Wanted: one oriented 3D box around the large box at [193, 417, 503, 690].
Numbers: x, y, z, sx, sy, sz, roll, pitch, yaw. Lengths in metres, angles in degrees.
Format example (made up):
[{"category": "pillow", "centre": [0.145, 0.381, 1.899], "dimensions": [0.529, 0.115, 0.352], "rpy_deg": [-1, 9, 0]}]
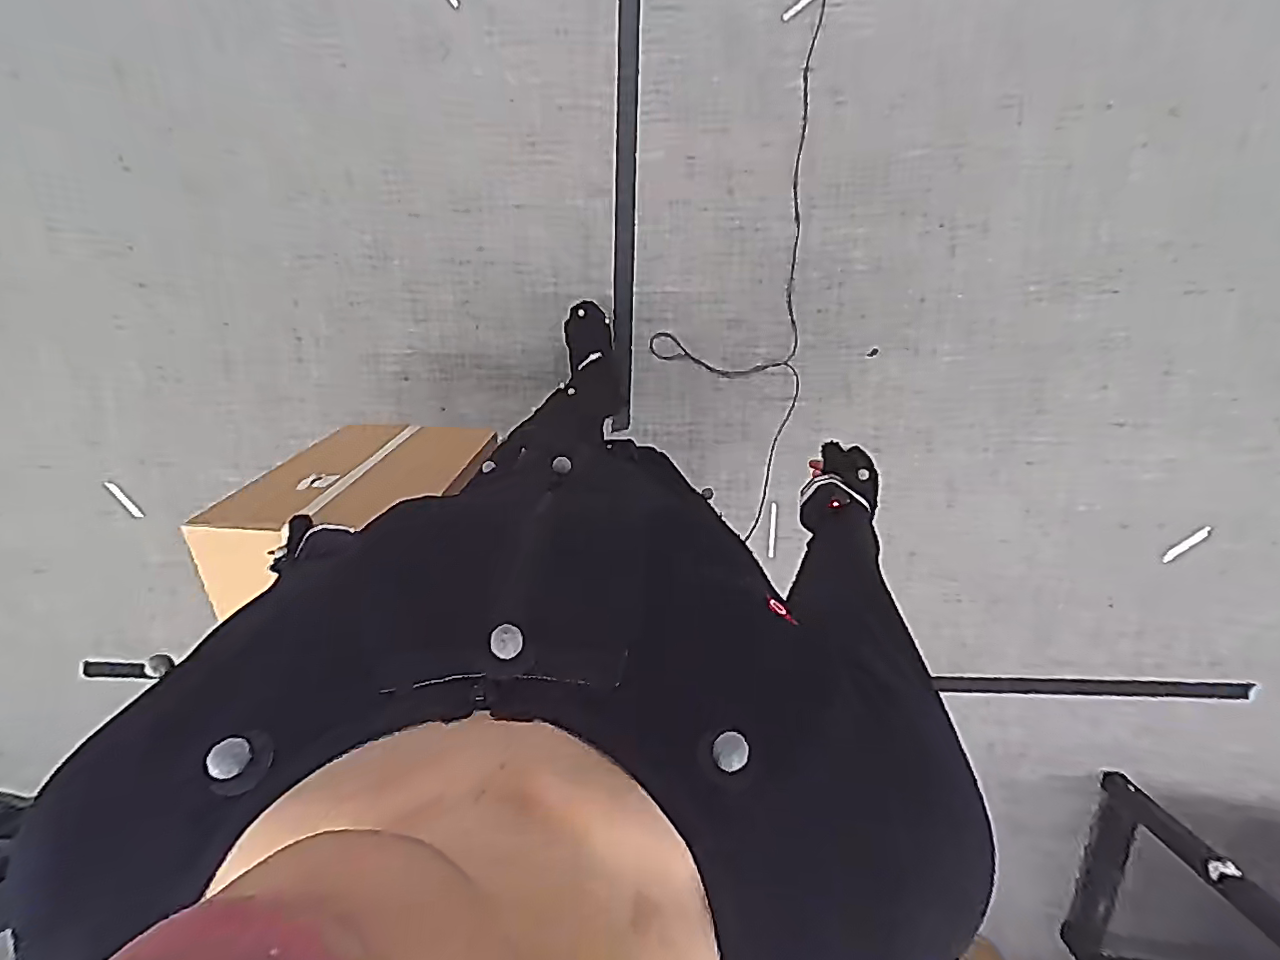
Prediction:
[{"category": "large box", "centre": [-0.461, 0.106, 0.979], "dimensions": [0.320, 0.408, 0.320], "rpy_deg": [3, 117, 4]}]
